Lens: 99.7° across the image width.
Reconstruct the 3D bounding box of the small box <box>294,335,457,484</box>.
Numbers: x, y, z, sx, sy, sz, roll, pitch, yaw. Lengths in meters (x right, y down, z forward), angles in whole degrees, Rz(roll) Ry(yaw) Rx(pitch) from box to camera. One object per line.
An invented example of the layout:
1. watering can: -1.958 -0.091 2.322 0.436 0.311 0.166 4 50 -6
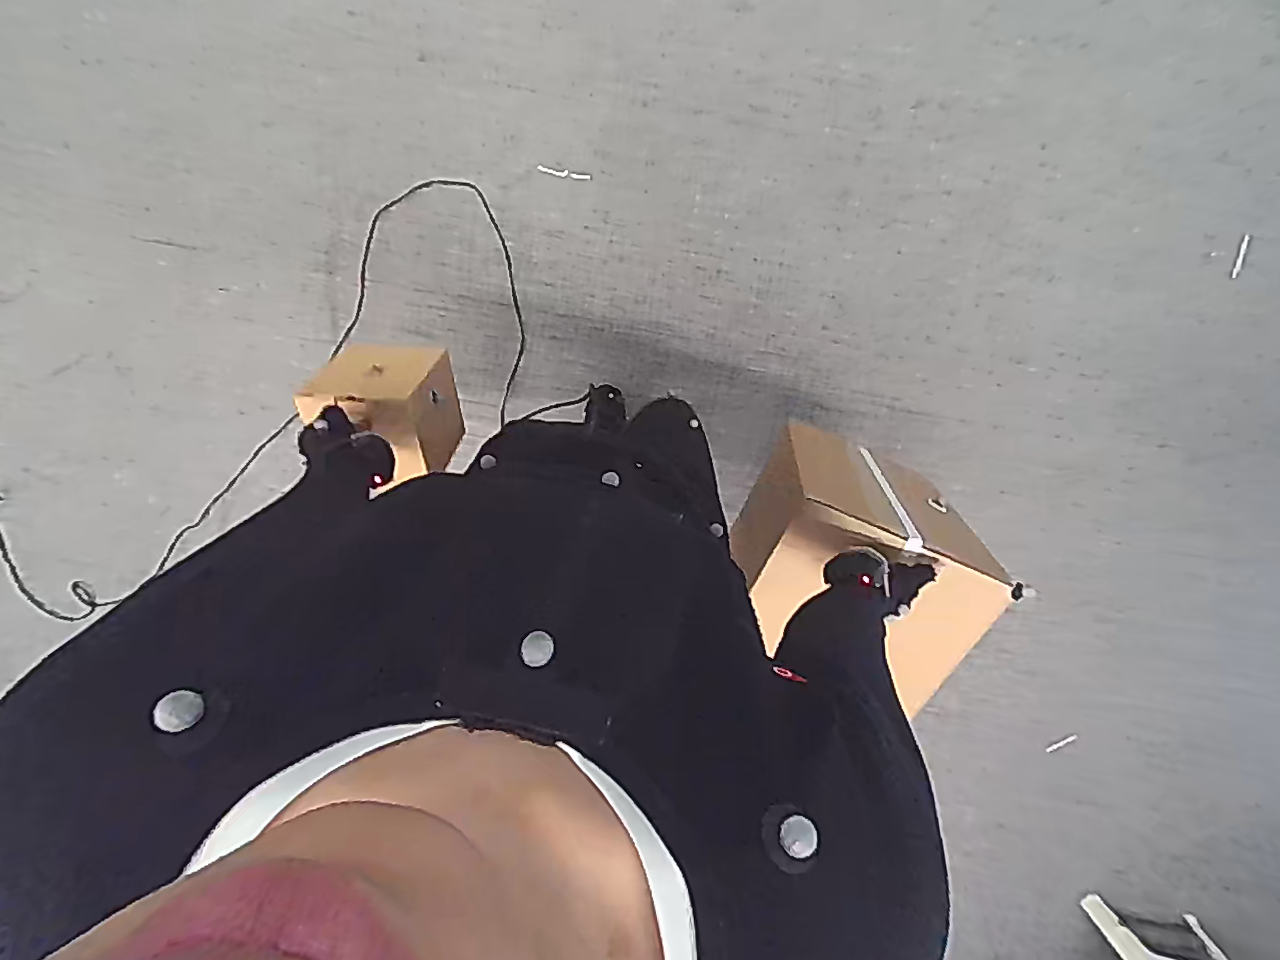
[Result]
1. small box: -0.406 -0.116 0.870 0.168 0.179 0.176 3 130 1
